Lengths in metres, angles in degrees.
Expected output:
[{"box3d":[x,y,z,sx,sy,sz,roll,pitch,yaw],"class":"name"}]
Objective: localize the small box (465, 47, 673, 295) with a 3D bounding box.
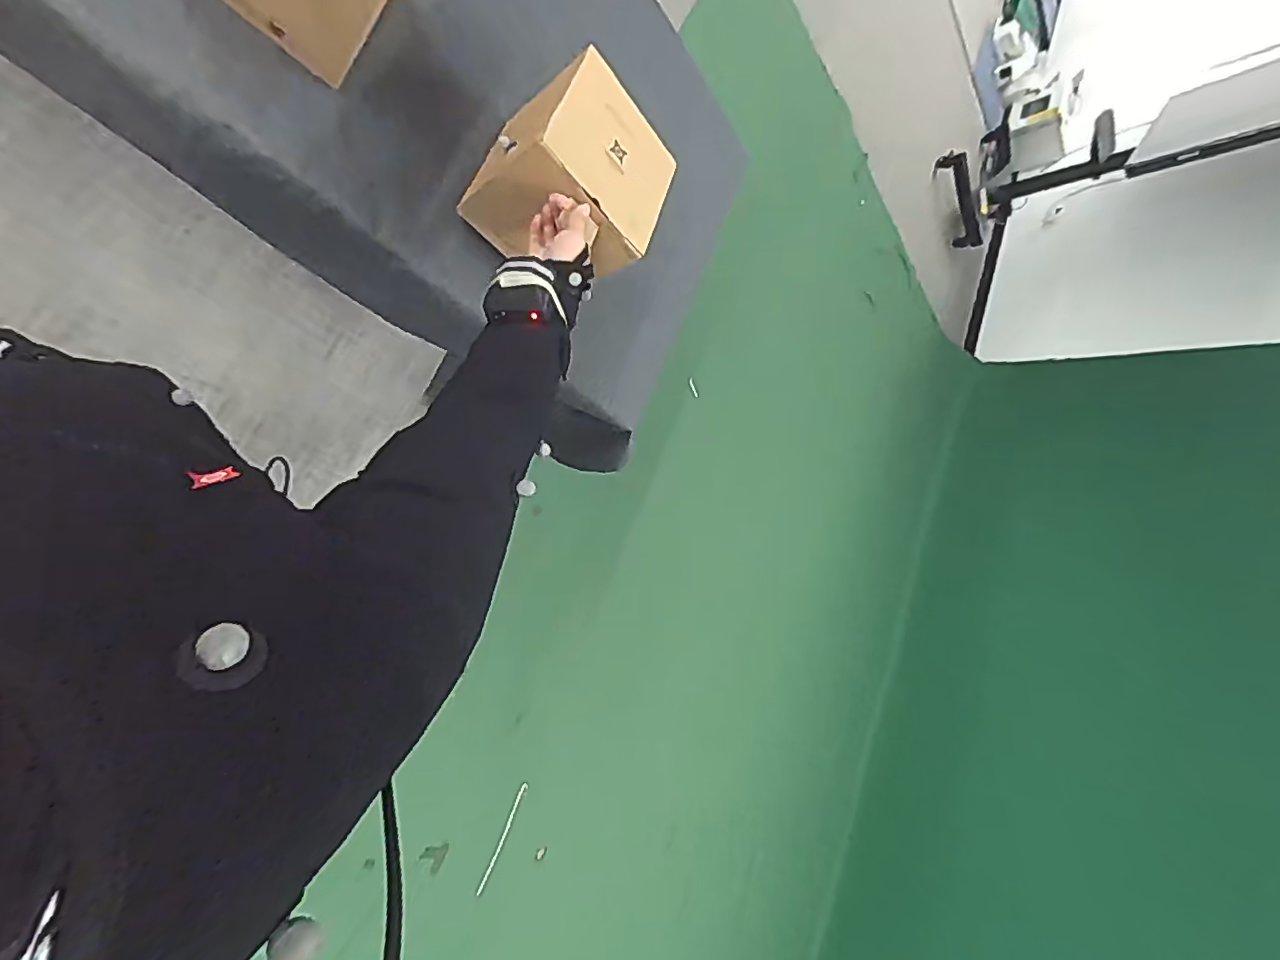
[{"box3d":[-0.088,-0.364,0.669,0.168,0.176,0.179,38,56,-40],"class":"small box"}]
